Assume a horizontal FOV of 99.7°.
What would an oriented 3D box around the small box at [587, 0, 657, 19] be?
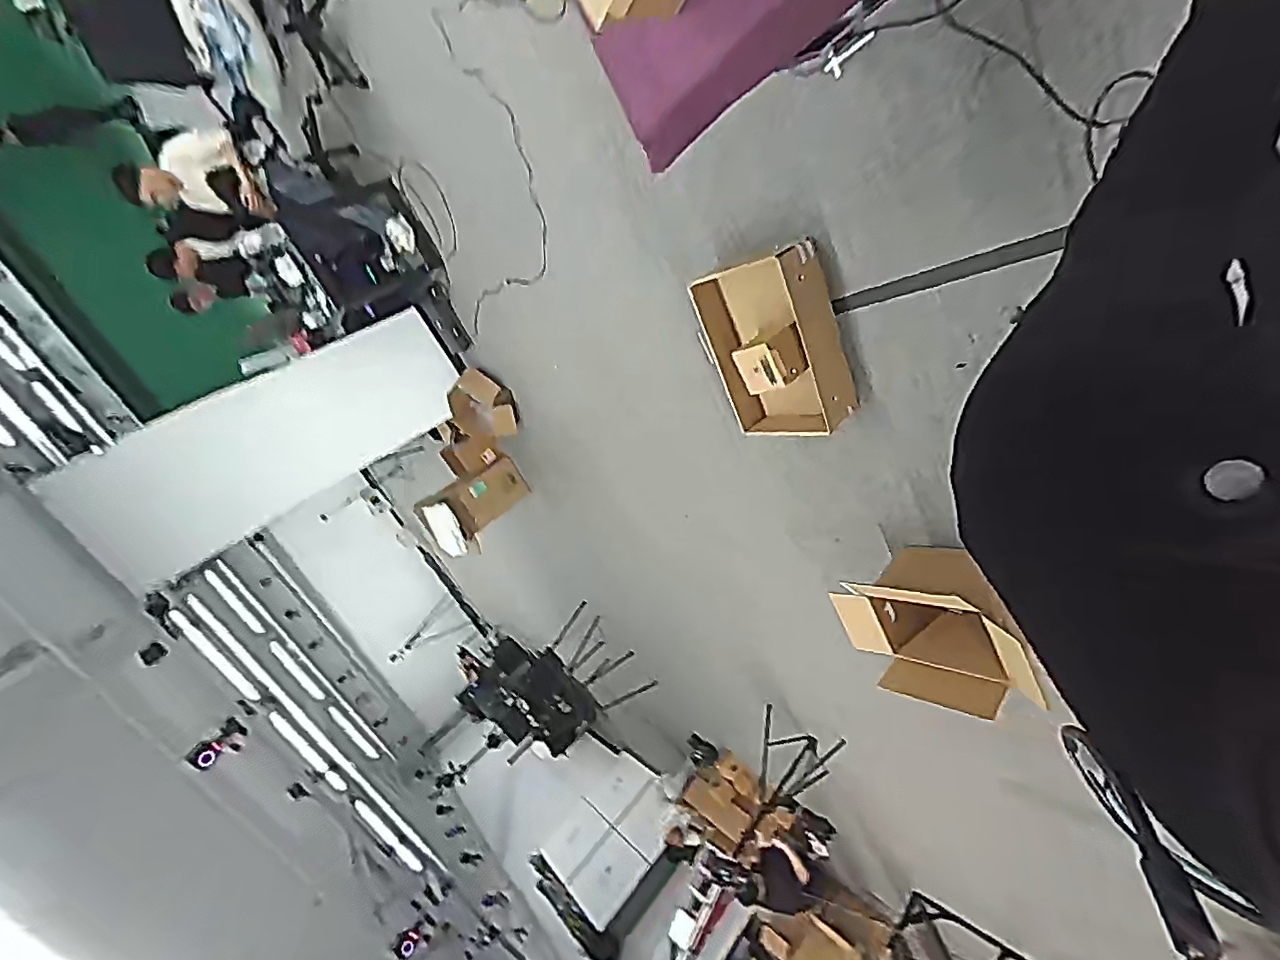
[{"bbox_3d":[-0.008,-0.772,0.711,0.179,0.176,0.168,57,151,-11],"label":"small box"}]
